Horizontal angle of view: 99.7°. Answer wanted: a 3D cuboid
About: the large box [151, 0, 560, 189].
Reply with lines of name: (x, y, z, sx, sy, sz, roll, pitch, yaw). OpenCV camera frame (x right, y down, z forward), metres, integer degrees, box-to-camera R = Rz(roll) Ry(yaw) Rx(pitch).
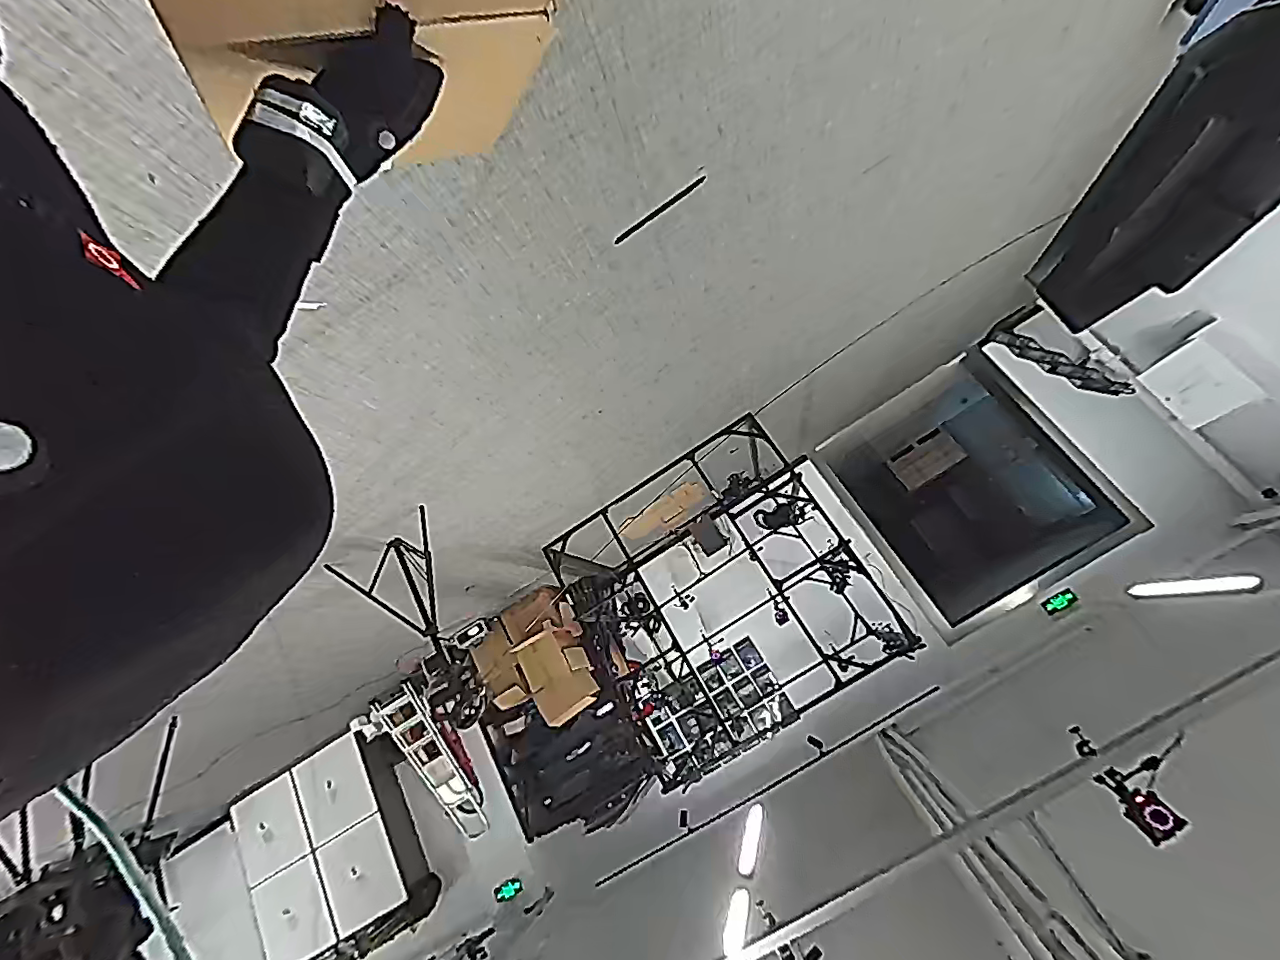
large box: (-0.332, -0.564, 0.514, 0.320, 0.408, 0.320, -27, -159, -21)
